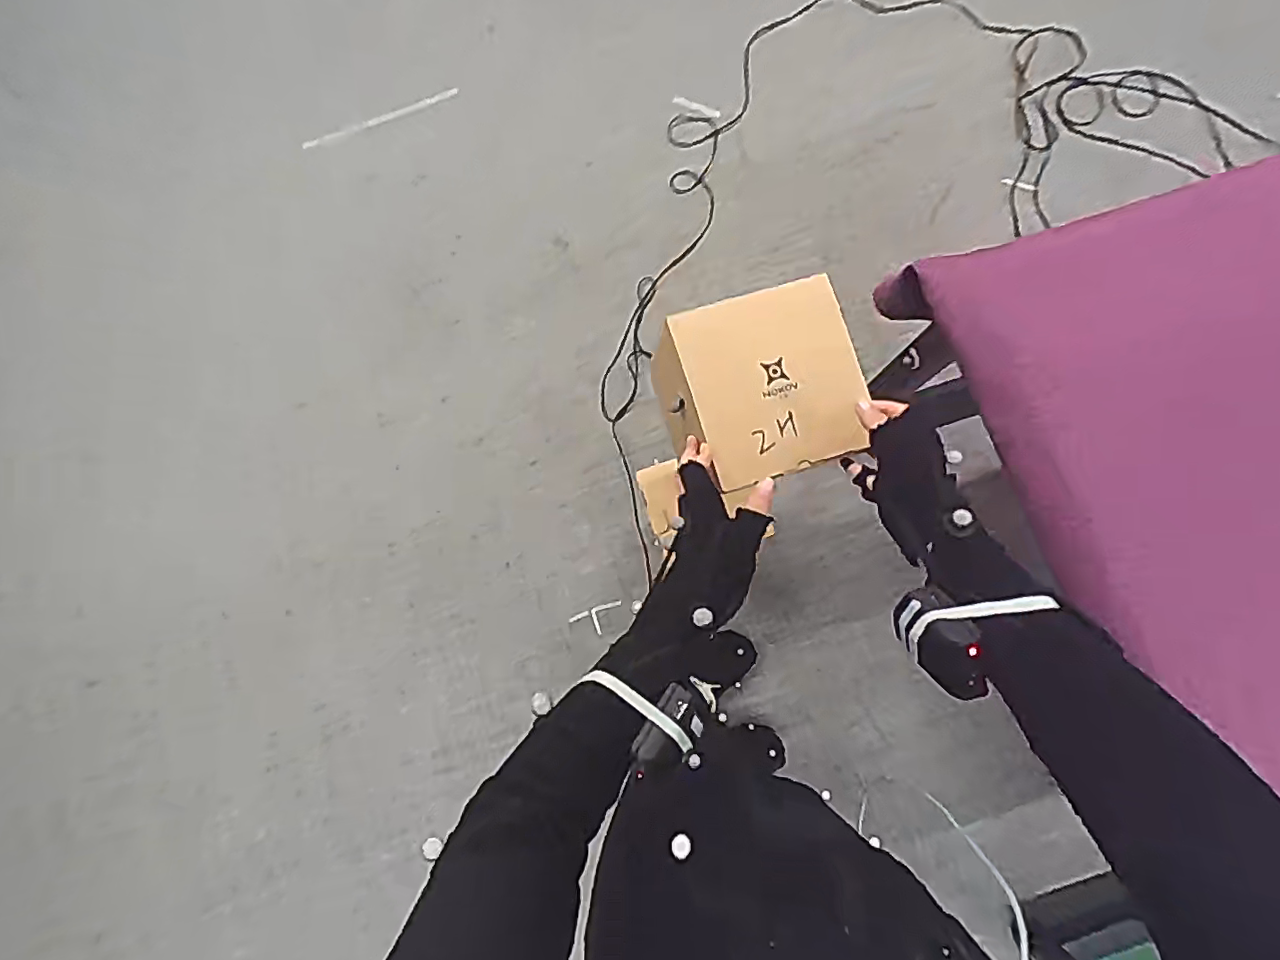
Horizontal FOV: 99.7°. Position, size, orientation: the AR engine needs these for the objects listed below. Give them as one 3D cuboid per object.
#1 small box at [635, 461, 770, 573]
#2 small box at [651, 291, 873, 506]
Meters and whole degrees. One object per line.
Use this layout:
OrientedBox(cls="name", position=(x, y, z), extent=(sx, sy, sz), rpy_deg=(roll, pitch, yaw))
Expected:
OrientedBox(cls="small box", position=(0.101, 0.053, 0.922), extent=(0.179, 0.176, 0.168), rpy_deg=(-19, 79, 2))
OrientedBox(cls="small box", position=(0.118, -0.077, 0.598), extent=(0.168, 0.176, 0.179), rpy_deg=(-16, 87, -6))
